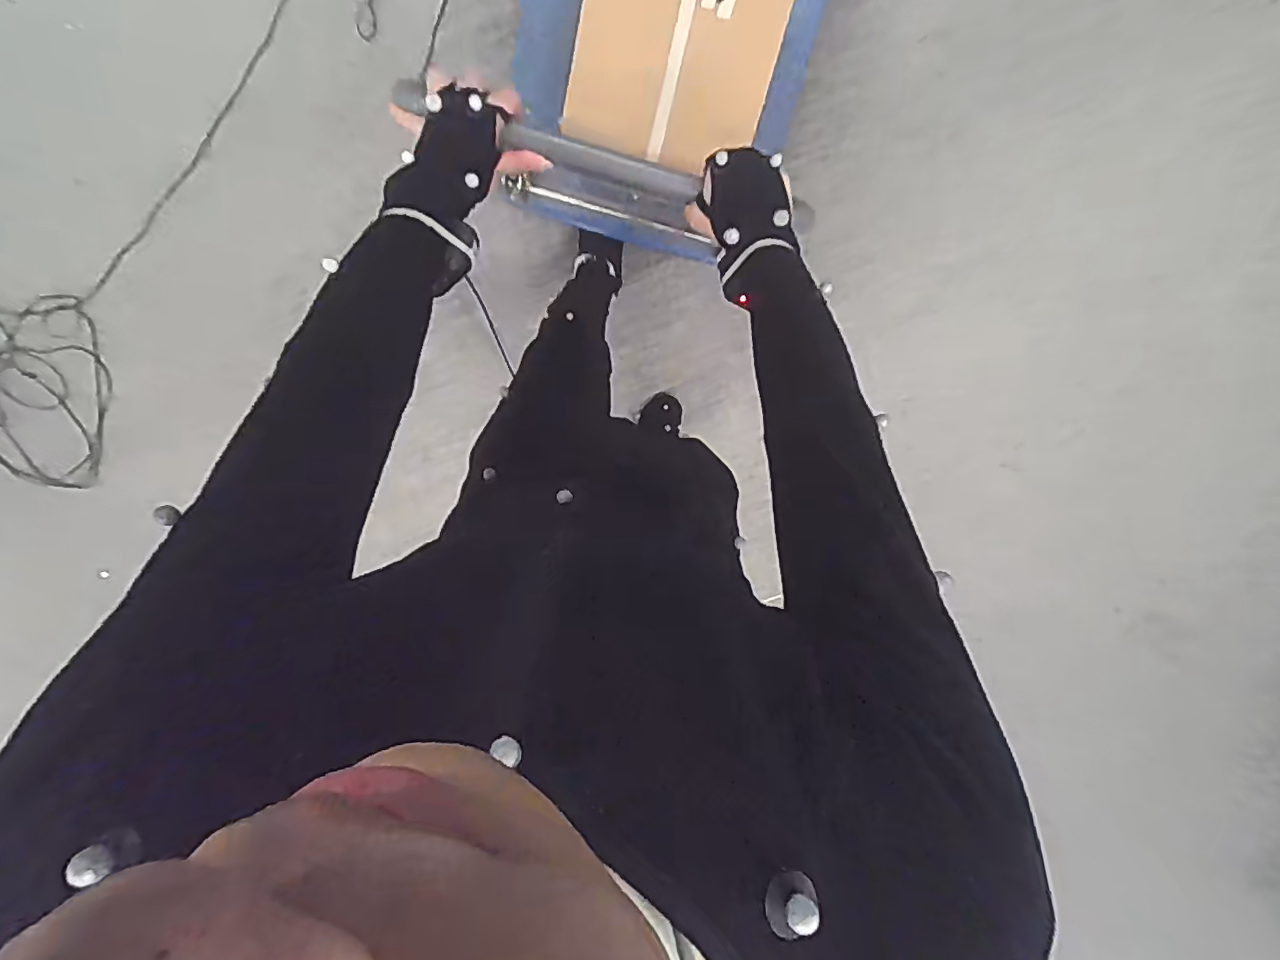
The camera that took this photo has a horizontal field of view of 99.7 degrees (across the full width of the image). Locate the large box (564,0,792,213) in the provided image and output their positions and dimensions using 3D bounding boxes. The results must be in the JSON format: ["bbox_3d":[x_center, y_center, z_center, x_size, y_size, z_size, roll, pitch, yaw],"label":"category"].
[{"bbox_3d":[0.068,-0.755,0.997,0.320,0.320,0.408,15,112,-5],"label":"large box"}]
